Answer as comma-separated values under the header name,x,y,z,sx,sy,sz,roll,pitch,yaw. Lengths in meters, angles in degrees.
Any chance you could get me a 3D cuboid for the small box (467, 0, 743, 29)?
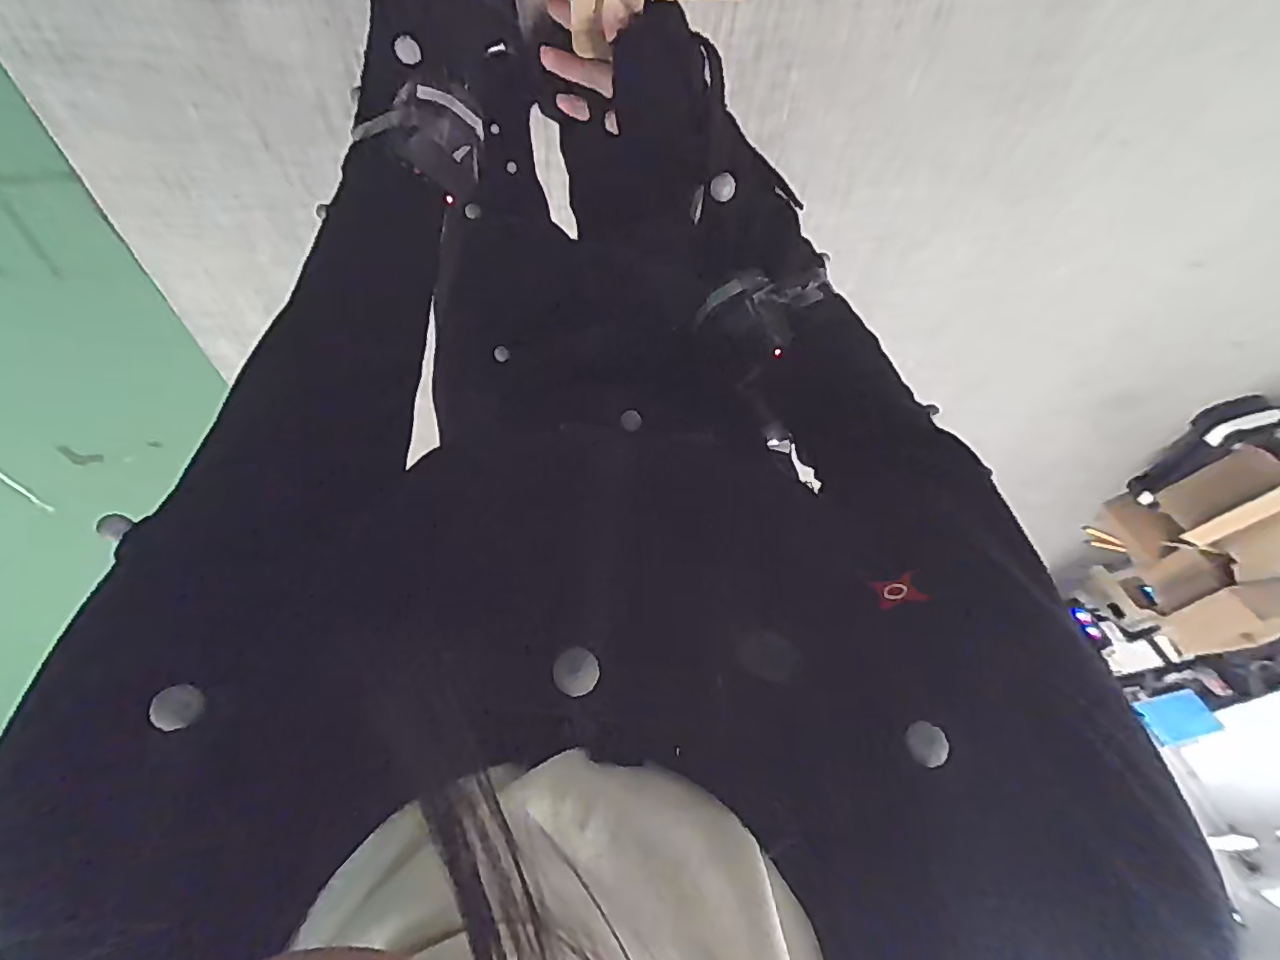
name,x,y,z,sx,sy,sz,roll,pitch,yaw
small box,-0.025,-0.387,0.292,0.168,0.176,0.179,-7,149,-9
